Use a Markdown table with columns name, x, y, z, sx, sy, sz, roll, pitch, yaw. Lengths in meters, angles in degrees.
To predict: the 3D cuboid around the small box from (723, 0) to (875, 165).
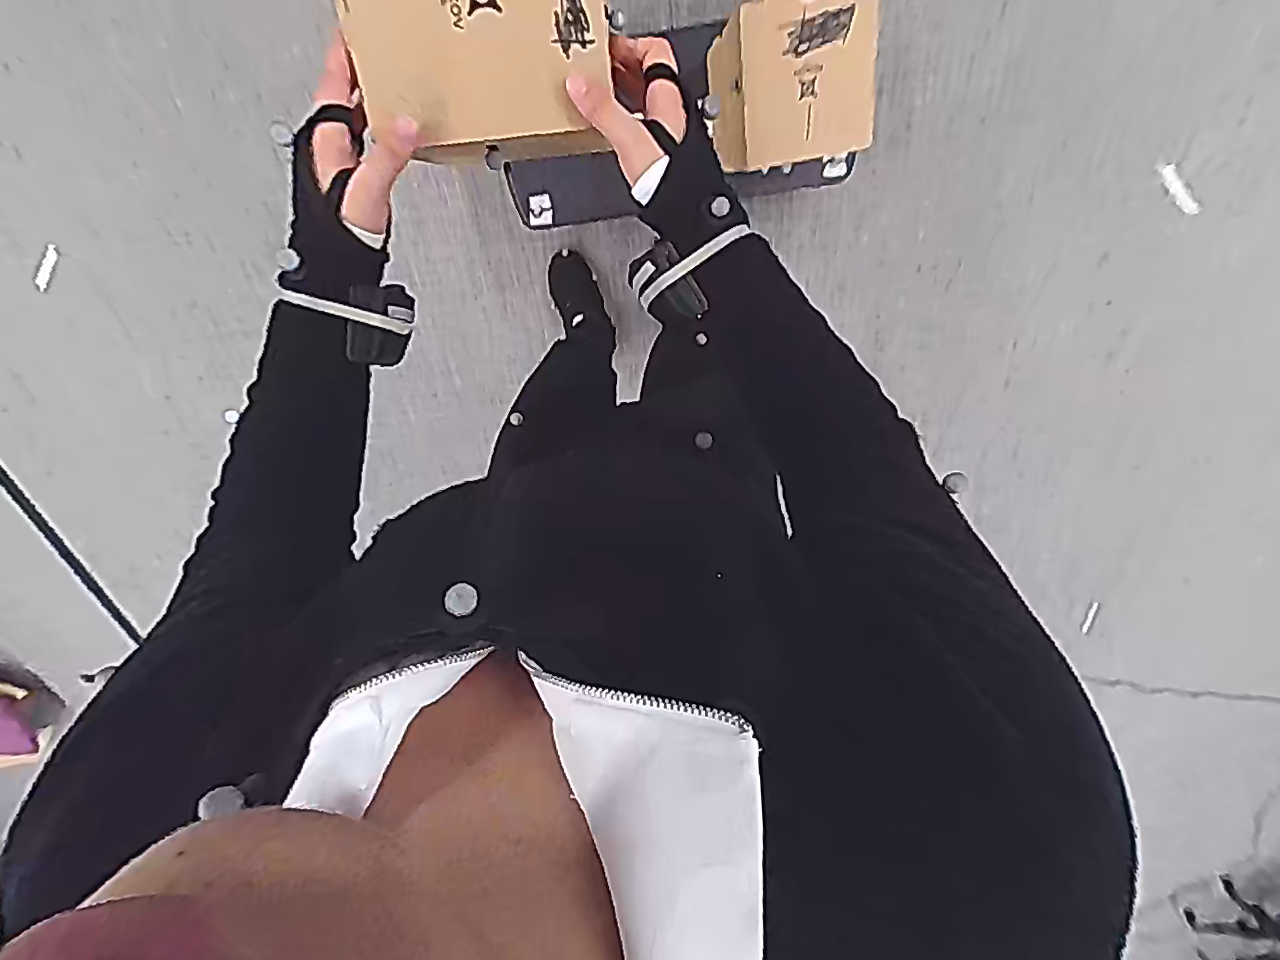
| name | x | y | z | sx | sy | sz | roll | pitch | yaw |
| --- | --- | --- | --- | --- | --- | --- | --- | --- | --- |
| small box | 0.211 | -0.550 | 0.752 | 0.168 | 0.176 | 0.179 | -7 | 121 | 6 |

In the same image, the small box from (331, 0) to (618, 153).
| name | x | y | z | sx | sy | sz | roll | pitch | yaw |
| --- | --- | --- | --- | --- | --- | --- | --- | --- | --- |
| small box | -0.113 | -0.354 | 0.411 | 0.179 | 0.176 | 0.168 | -5 | 119 | 2 |

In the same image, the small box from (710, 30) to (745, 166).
| name | x | y | z | sx | sy | sz | roll | pitch | yaw |
| --- | --- | --- | --- | --- | --- | --- | --- | --- | --- |
| small box | 0.205 | -0.631 | 0.895 | 0.168 | 0.176 | 0.179 | -7 | 121 | 6 |
